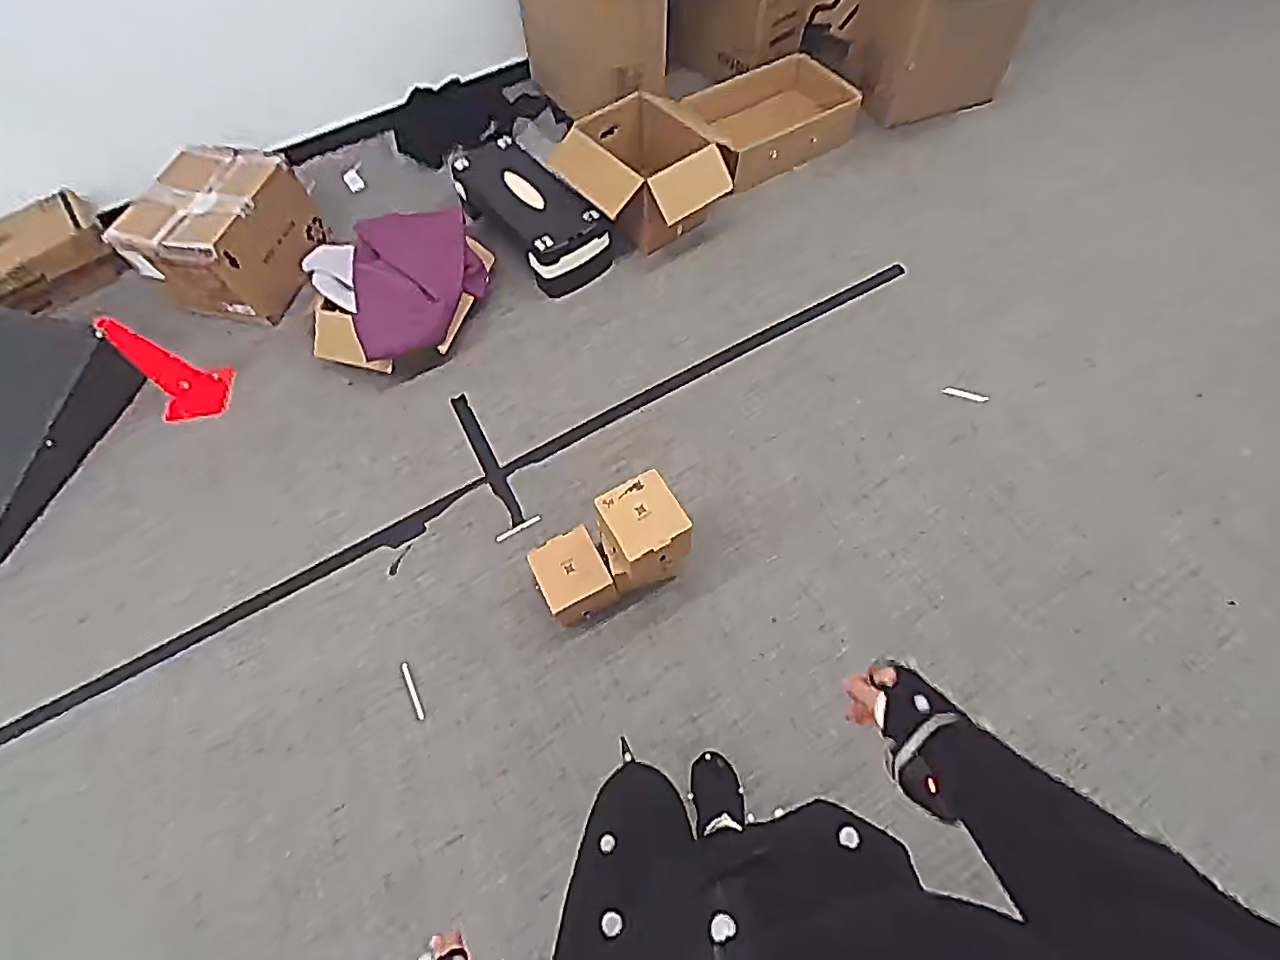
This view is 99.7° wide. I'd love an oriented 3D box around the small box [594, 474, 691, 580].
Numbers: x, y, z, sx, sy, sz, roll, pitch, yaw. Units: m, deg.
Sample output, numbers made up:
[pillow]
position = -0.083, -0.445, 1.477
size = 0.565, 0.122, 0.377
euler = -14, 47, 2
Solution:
[small box]
position = 0.008, 0.121, 1.289
size = 0.168, 0.176, 0.179
euler = -27, 66, -11
